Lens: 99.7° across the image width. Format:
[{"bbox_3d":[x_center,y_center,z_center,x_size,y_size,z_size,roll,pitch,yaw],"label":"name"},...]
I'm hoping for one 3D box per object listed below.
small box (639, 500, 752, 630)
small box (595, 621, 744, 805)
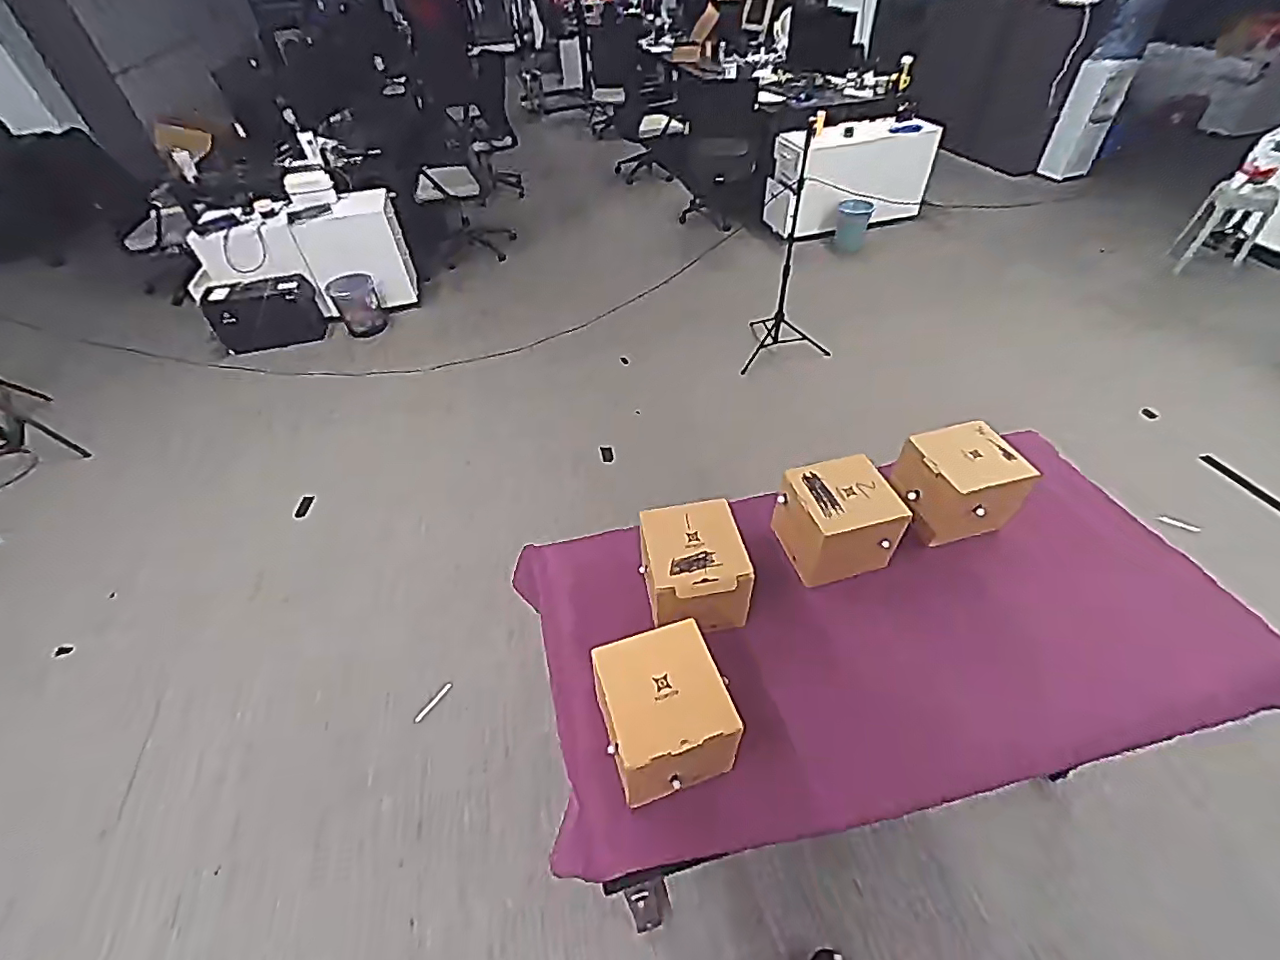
[{"bbox_3d":[0.096,0.165,0.987,0.168,0.176,0.179,-9,46,-5],"label":"small box"},{"bbox_3d":[0.035,0.347,0.809,0.168,0.176,0.179,-14,47,-13],"label":"small box"}]
